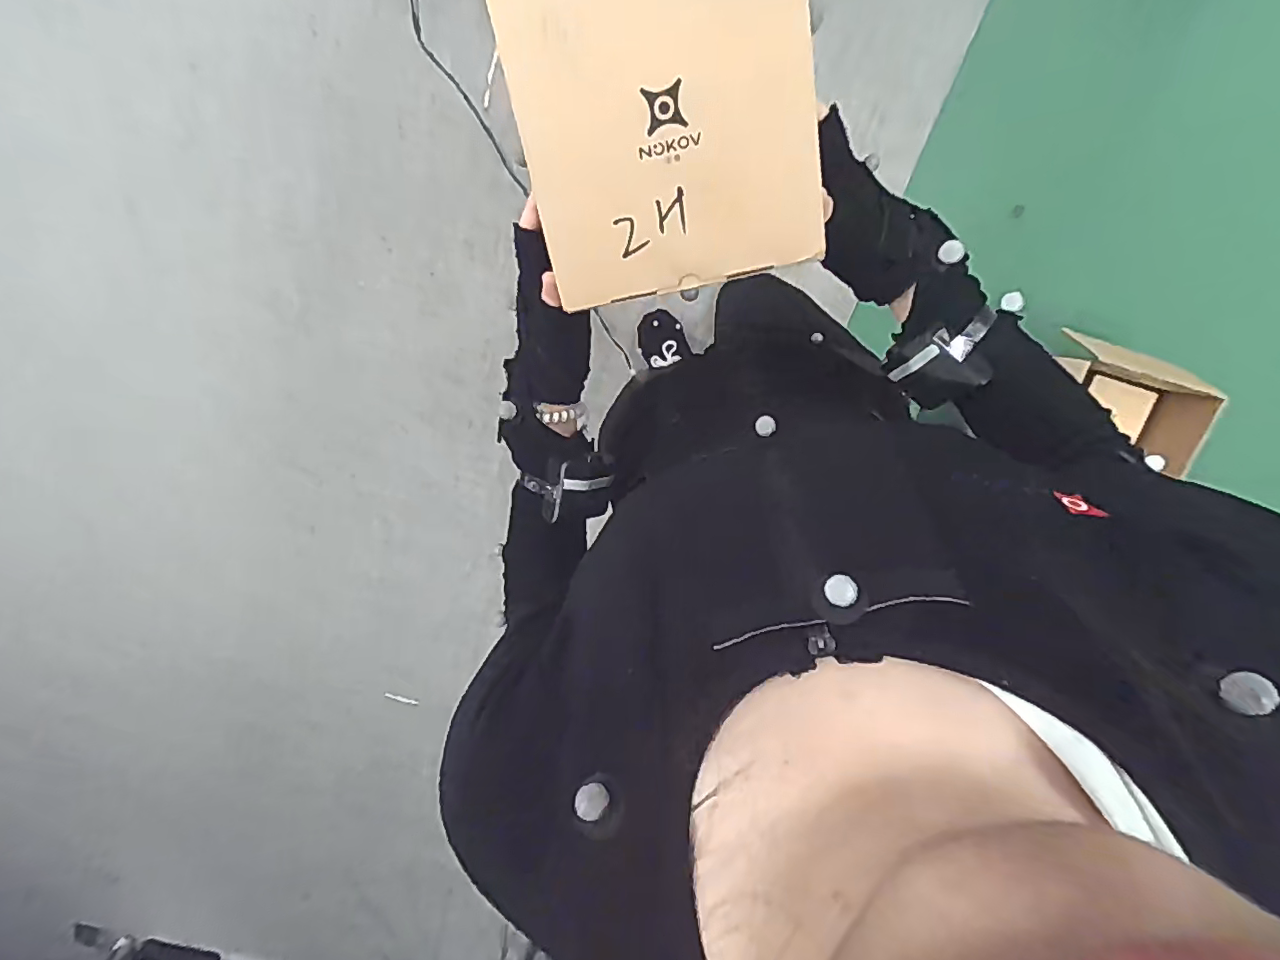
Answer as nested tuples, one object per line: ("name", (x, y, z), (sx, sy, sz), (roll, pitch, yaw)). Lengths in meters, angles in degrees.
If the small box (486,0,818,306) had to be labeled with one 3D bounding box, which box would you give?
("small box", (0.016, -0.229, 0.374), (0.168, 0.176, 0.179), (-9, 111, 9))
